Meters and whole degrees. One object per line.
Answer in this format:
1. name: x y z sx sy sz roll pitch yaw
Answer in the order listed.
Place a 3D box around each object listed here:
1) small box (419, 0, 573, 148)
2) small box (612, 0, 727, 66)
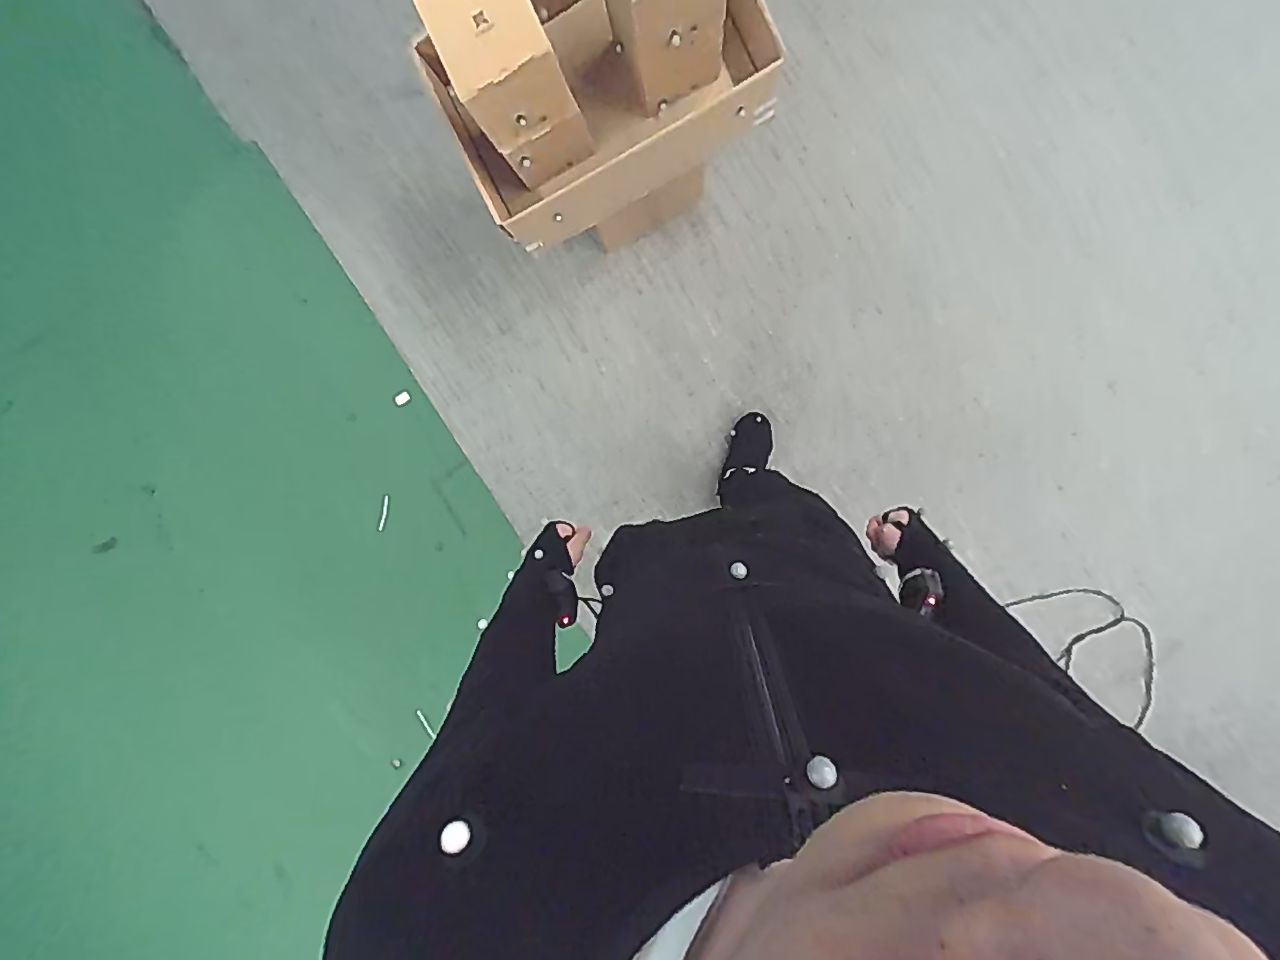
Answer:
1. small box: -0.232 -0.714 0.913 0.168 0.176 0.179 -24 93 8
2. small box: 0.034 -0.832 0.869 0.168 0.176 0.179 -25 94 9
